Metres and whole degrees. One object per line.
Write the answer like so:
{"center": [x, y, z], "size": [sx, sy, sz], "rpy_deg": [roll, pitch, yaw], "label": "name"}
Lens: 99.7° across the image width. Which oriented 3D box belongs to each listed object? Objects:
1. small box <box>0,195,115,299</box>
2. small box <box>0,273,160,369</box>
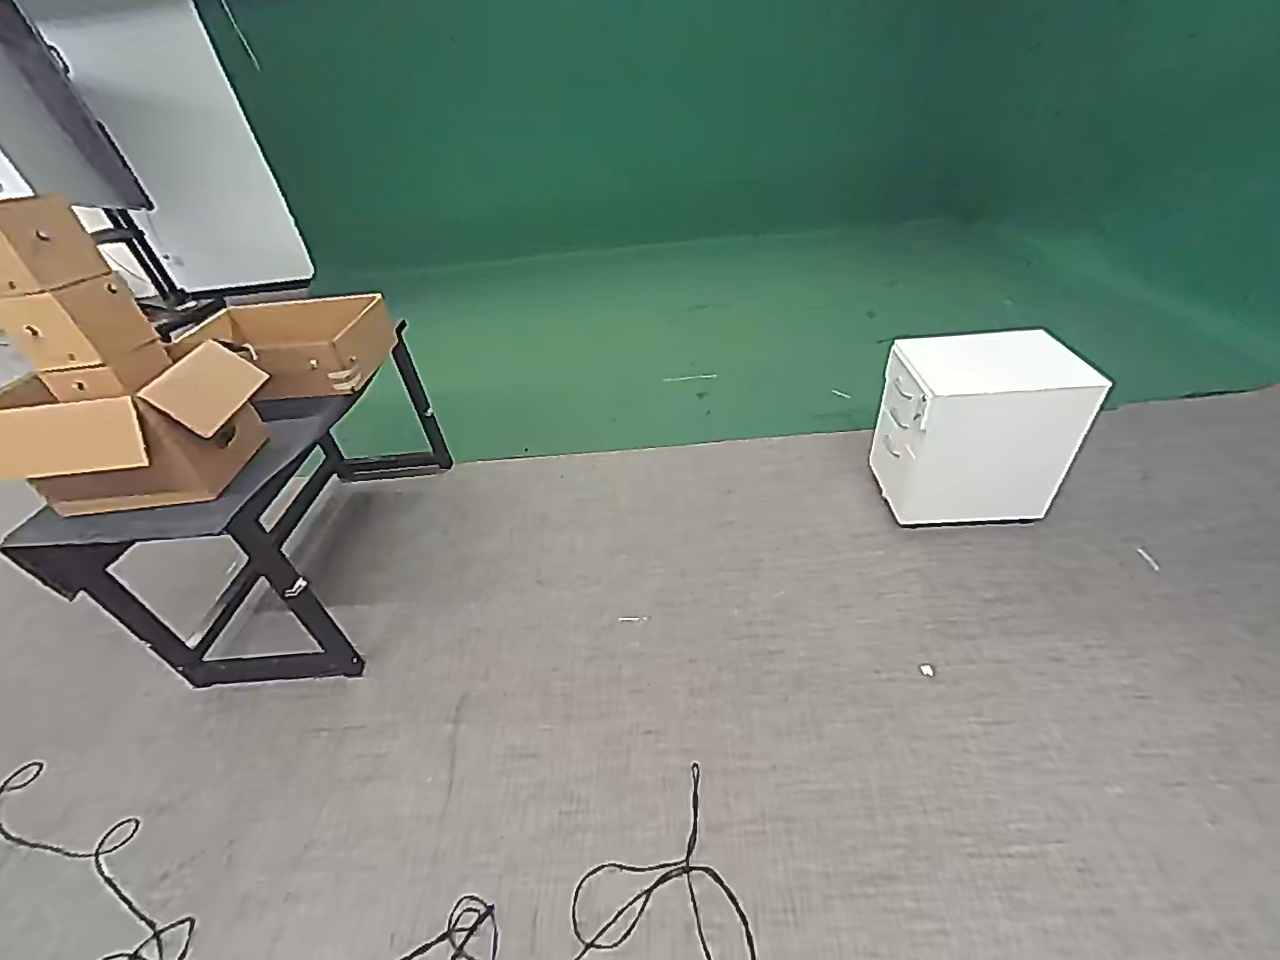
{"center": [-1.319, -0.499, 1.168], "size": [0.168, 0.176, 0.179], "rpy_deg": [-5, 35, 6], "label": "small box"}
{"center": [-1.295, -0.366, 1.261], "size": [0.168, 0.176, 0.179], "rpy_deg": [-6, 34, 5], "label": "small box"}
